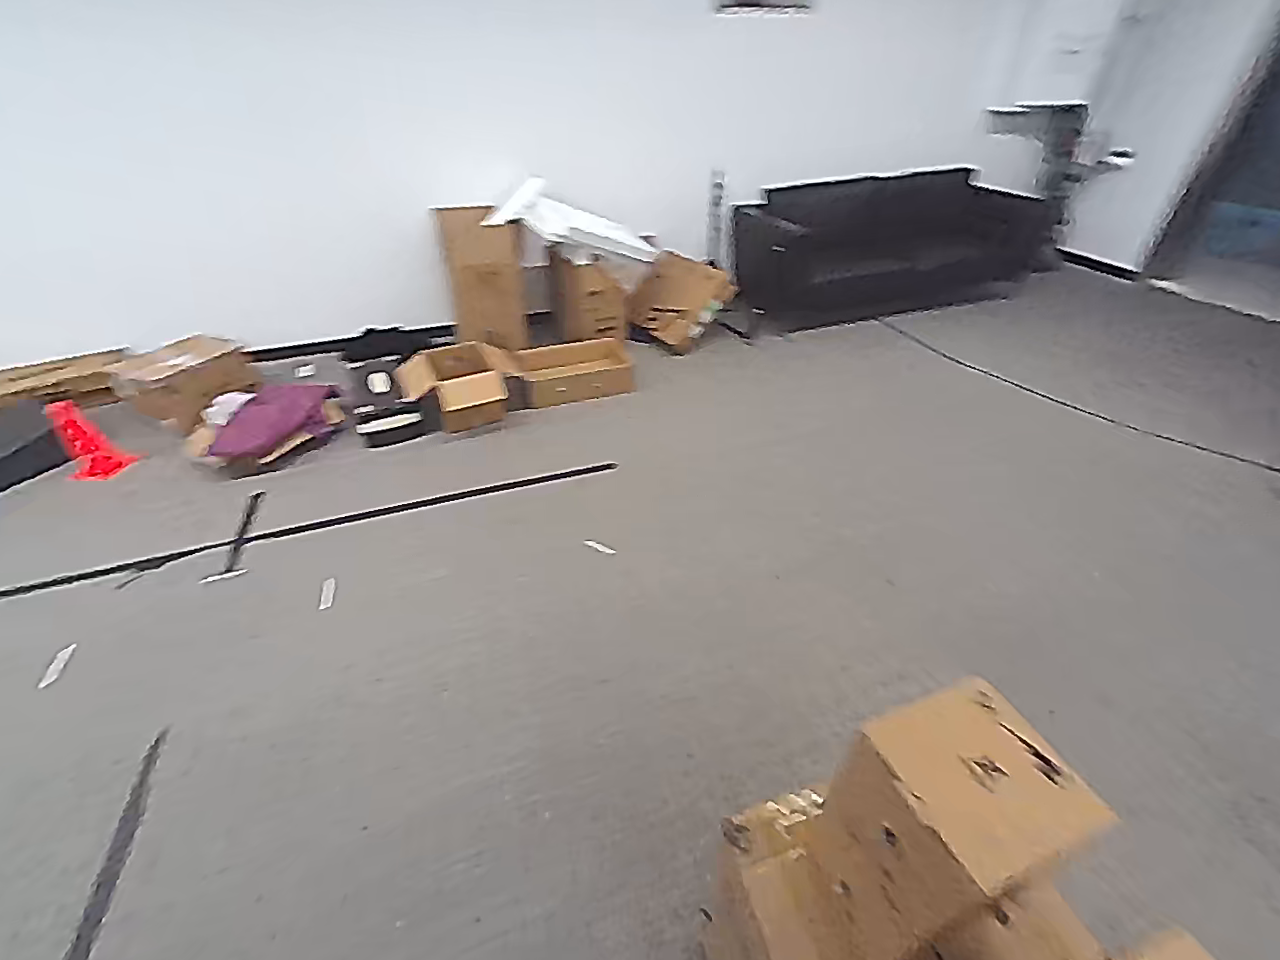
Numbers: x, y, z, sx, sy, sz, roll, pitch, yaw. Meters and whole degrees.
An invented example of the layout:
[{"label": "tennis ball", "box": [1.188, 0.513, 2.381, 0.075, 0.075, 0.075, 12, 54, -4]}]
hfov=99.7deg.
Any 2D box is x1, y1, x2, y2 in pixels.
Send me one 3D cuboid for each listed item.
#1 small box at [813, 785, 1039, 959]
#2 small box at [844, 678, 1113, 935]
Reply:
[{"label": "small box", "box": [0.352, 0.493, 0.705, 0.179, 0.176, 0.168, -13, 39, -14]}, {"label": "small box", "box": [0.352, 0.362, 0.606, 0.179, 0.176, 0.168, -14, 39, -15]}]
